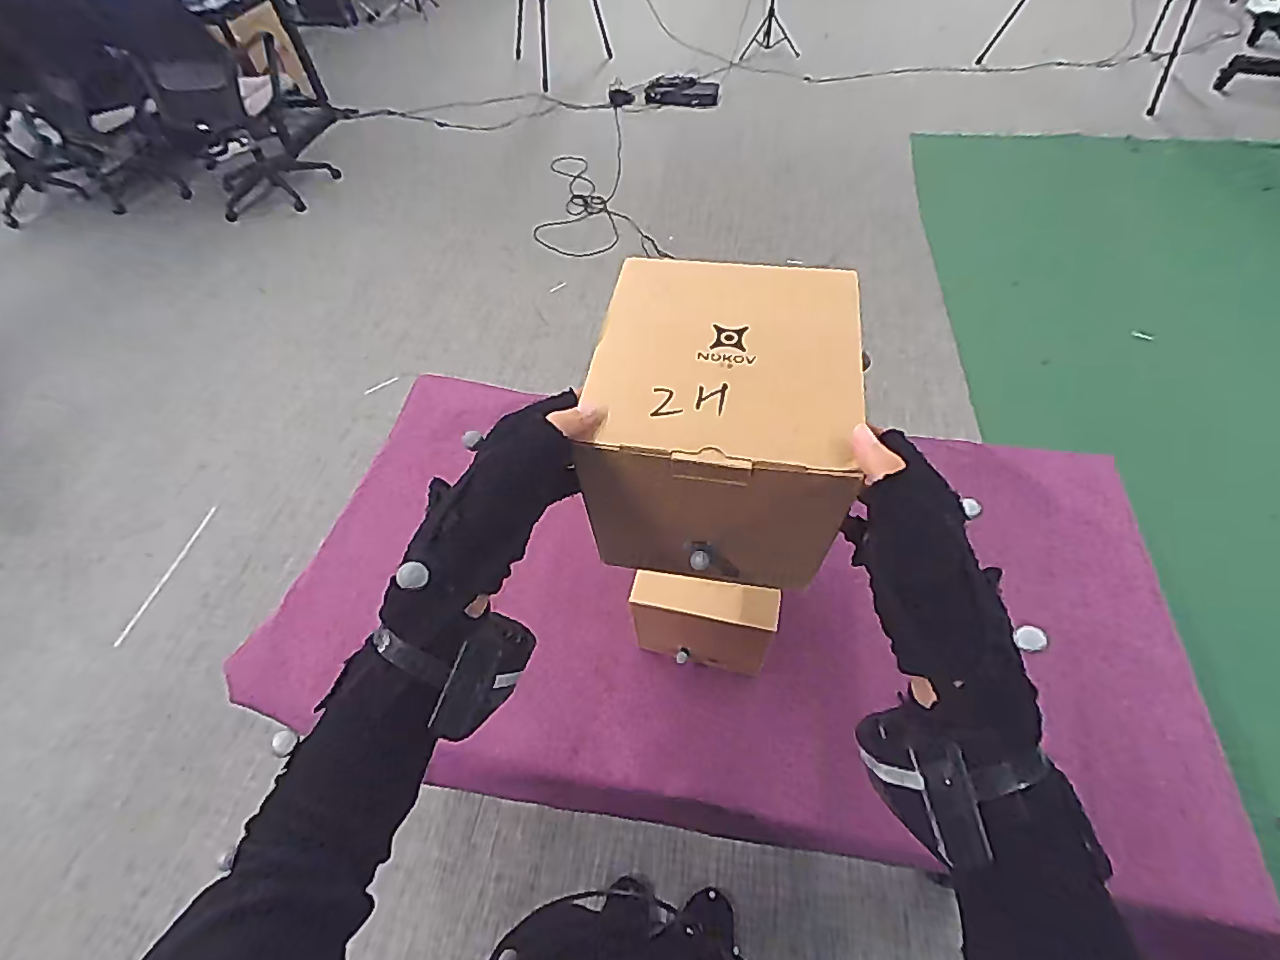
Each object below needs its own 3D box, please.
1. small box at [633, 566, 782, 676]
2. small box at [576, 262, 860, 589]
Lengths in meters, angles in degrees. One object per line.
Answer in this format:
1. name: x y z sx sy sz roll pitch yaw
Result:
1. small box: 0.095 0.130 0.707 0.168 0.176 0.179 10 55 12
2. small box: 0.061 -0.038 0.417 0.168 0.176 0.179 7 57 9
